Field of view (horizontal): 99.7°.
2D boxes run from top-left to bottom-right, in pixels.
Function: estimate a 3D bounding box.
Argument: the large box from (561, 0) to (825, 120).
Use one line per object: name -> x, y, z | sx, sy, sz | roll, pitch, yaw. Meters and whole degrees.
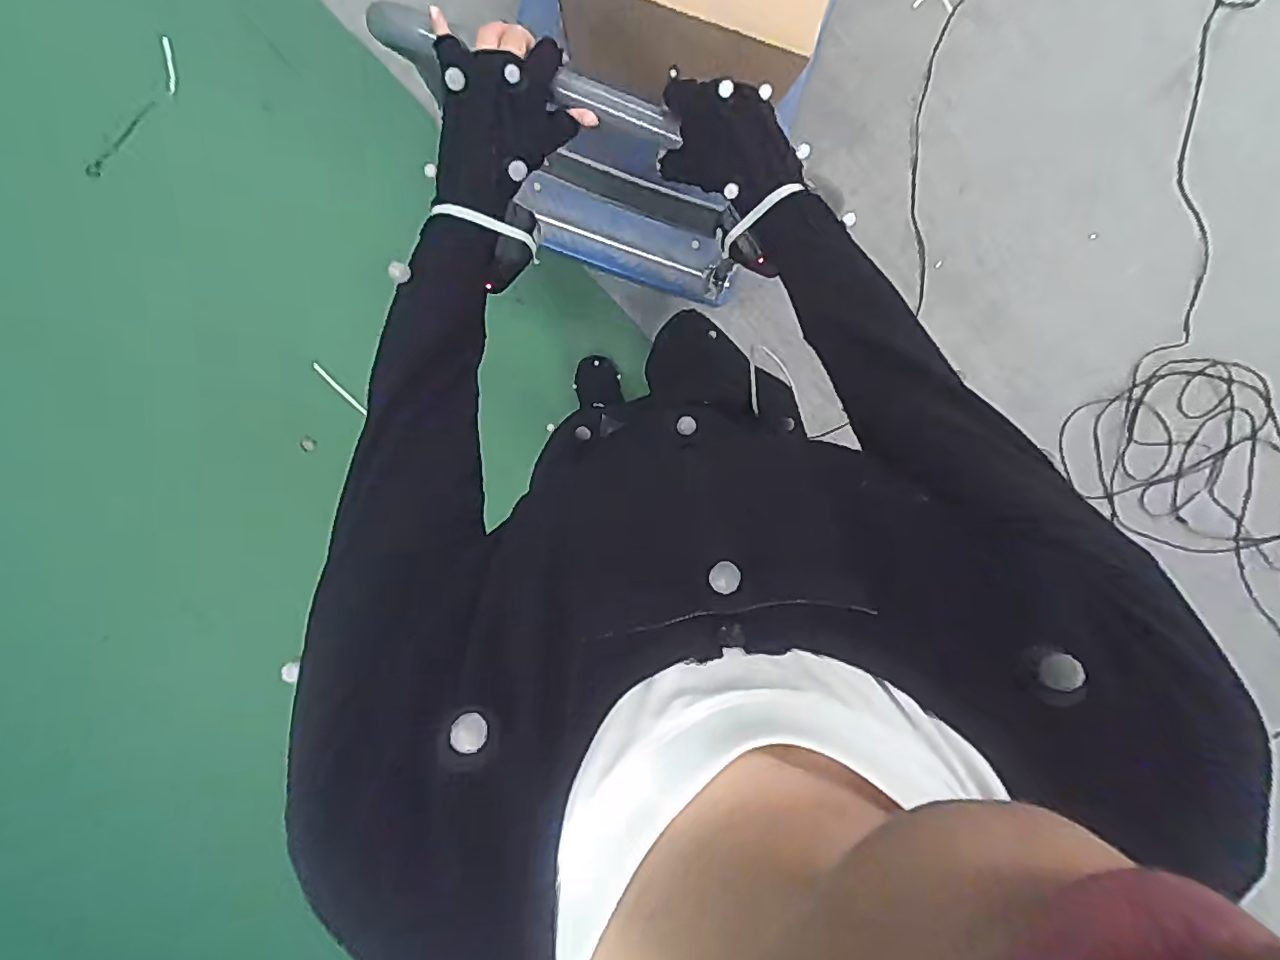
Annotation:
large box -> 0.101, -0.879, 0.911 | 0.408, 0.320, 0.320 | 14, 104, -6
